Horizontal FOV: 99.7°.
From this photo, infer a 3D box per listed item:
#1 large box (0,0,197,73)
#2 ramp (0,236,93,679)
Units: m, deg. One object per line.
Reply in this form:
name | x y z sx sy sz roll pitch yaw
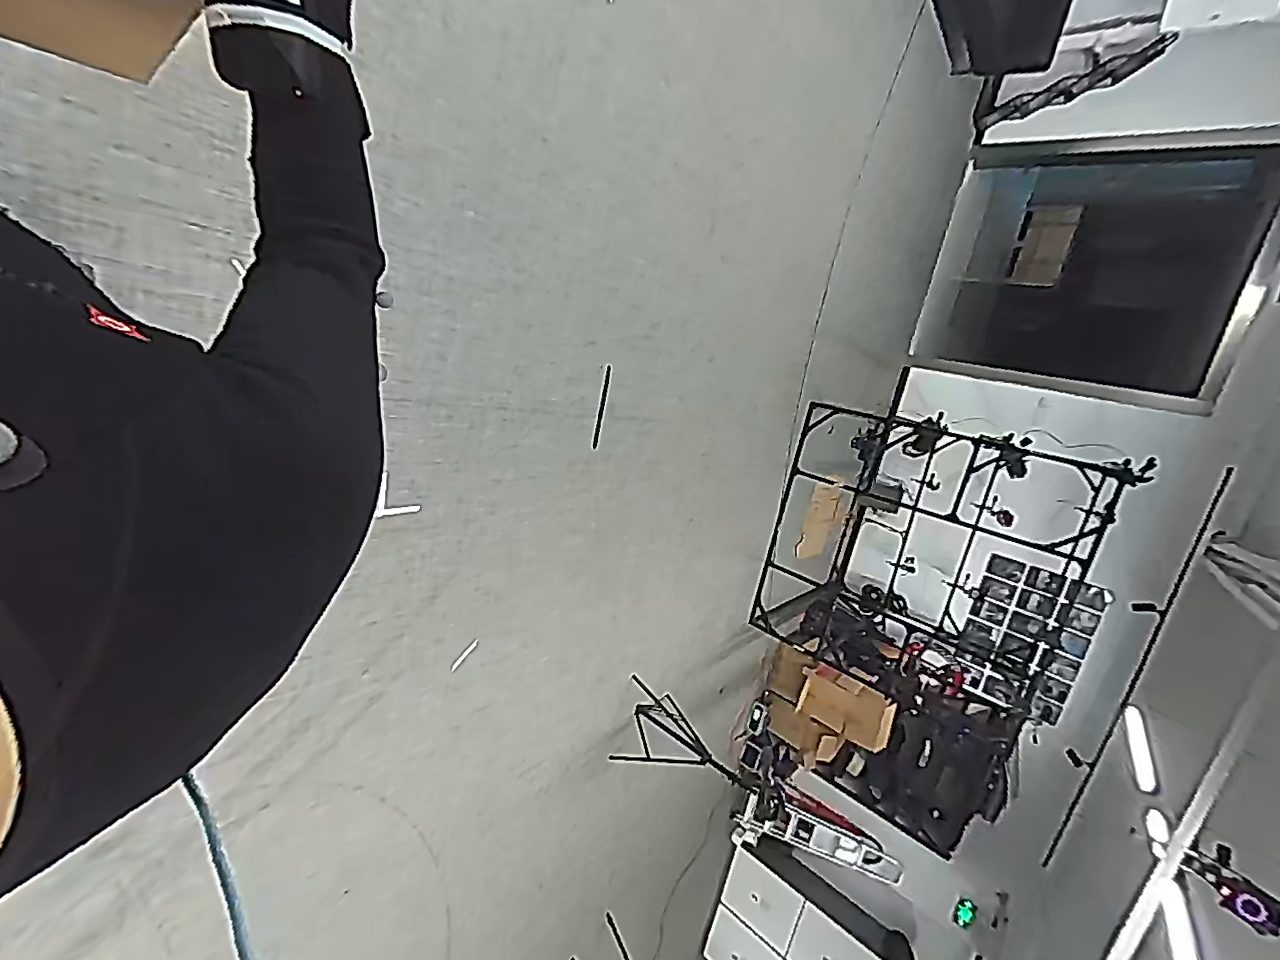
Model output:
large box | -0.471 -0.475 0.238 0.408 0.320 0.320 -11 109 -50
ramp | -1.363 0.019 1.002 0.509 0.206 0.991 -7 113 -52
